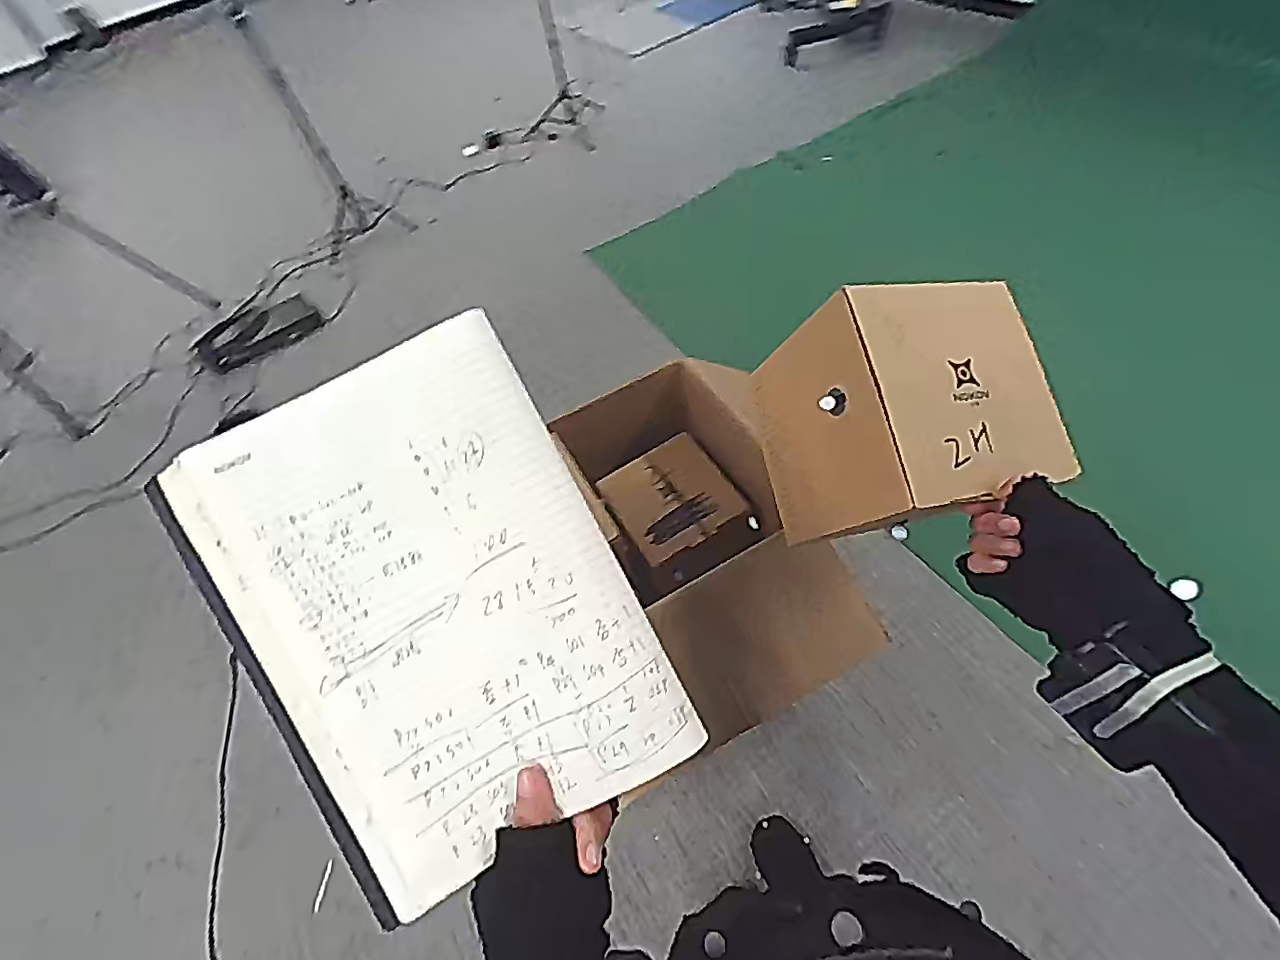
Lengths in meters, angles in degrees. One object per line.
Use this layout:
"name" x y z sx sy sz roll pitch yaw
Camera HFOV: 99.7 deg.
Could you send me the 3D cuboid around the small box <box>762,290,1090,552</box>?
"small box" 0.230 -0.045 0.482 0.168 0.176 0.179 -6 75 -18
